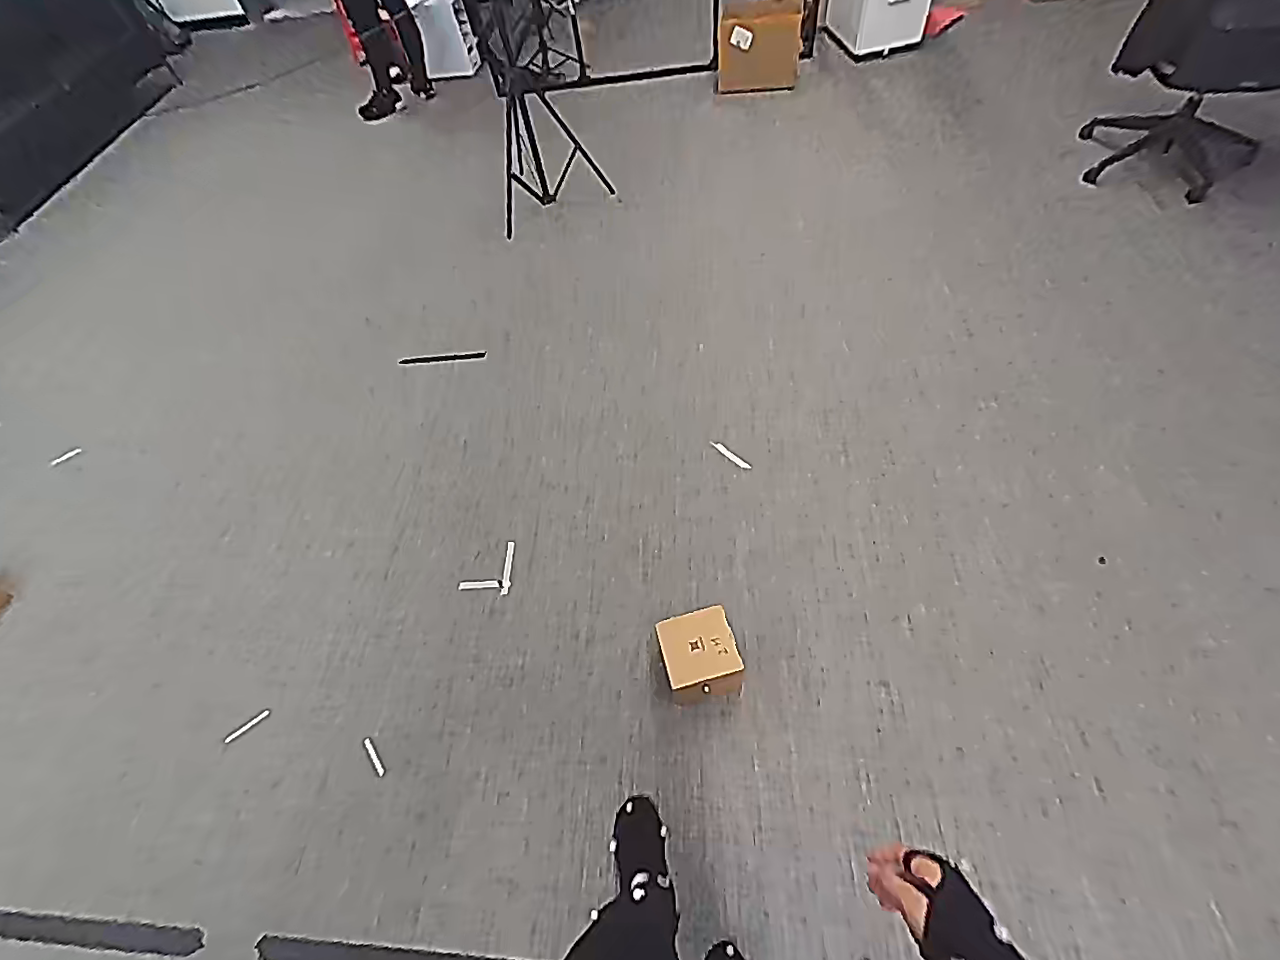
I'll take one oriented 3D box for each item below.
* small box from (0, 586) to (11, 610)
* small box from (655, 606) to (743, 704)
[{"bbox_3d":[-2.208,0.390,1.726,0.168,0.176,0.179,20,61,20],"label":"small box"},{"bbox_3d":[0.148,0.441,1.347,0.179,0.176,0.168,-15,55,-2],"label":"small box"}]
